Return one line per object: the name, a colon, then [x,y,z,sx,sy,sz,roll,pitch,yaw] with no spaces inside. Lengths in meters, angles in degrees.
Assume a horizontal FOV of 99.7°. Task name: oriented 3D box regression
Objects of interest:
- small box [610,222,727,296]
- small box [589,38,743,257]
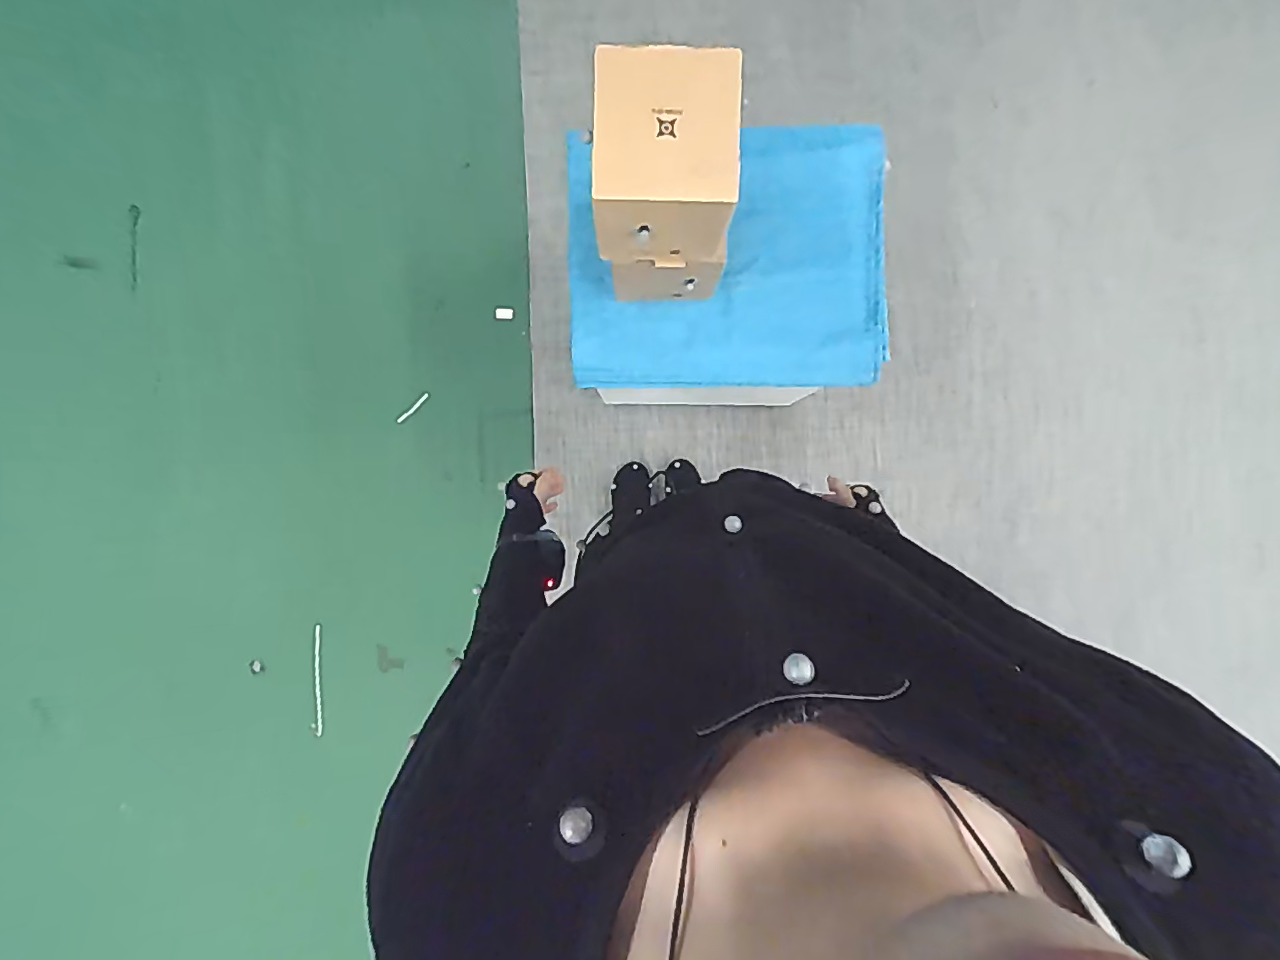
small box: [0.042,-0.394,0.833,0.168,0.176,0.179,0,90,-1]
small box: [0.029,-0.394,0.671,0.168,0.176,0.179,2,89,0]
